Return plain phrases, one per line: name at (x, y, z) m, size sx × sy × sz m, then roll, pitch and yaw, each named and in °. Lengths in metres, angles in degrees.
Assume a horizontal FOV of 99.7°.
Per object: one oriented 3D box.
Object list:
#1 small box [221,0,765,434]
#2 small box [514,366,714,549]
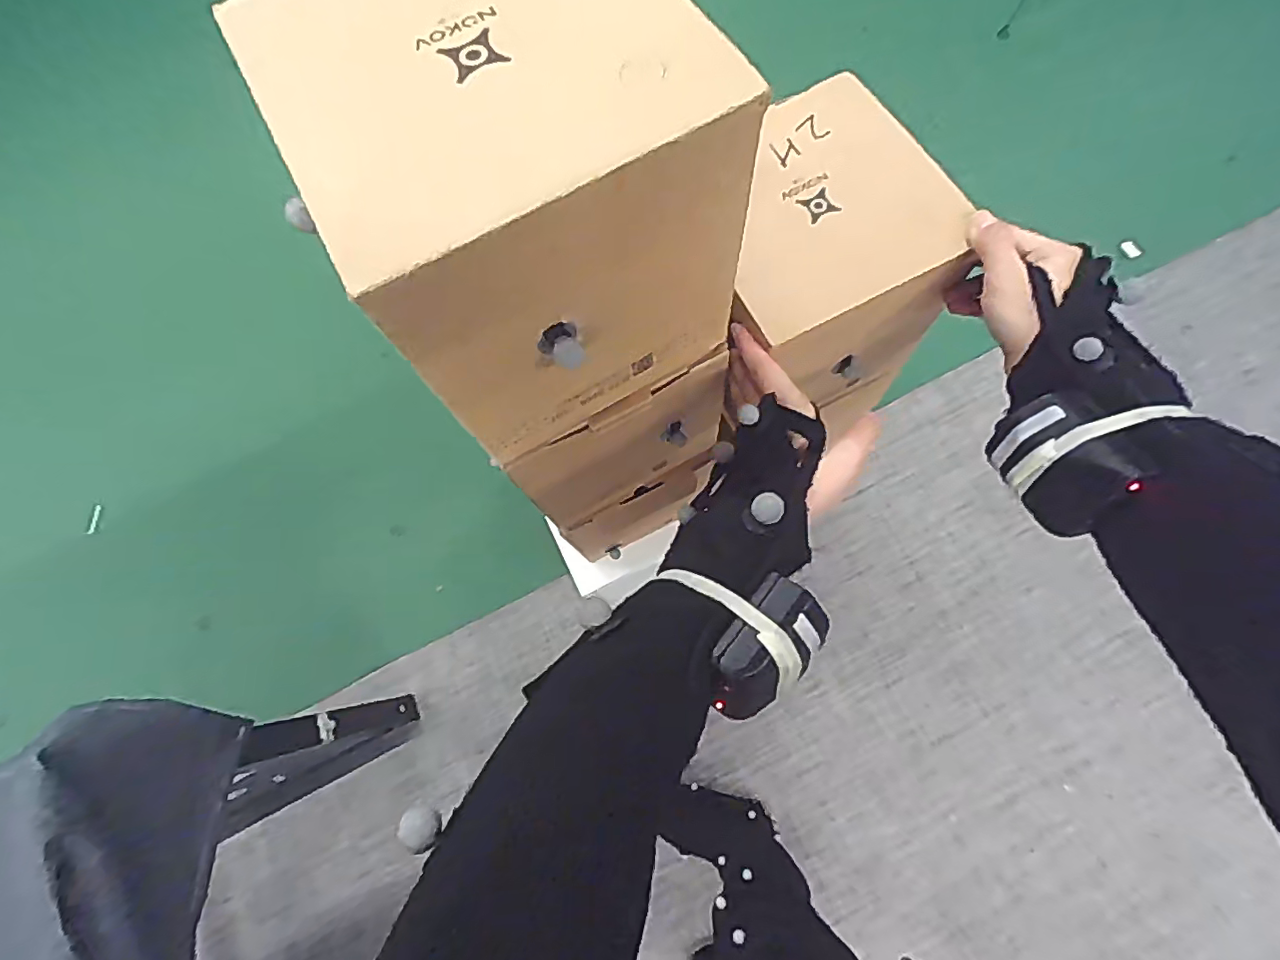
small box at (-0.059, -0.144, 0.286) m, size 0.168 × 0.176 × 0.179 m, roll -29°, pitch 72°, yaw -6°
small box at (-0.032, -0.037, 0.591) m, size 0.168 × 0.176 × 0.179 m, roll -26°, pitch 72°, yaw -4°
